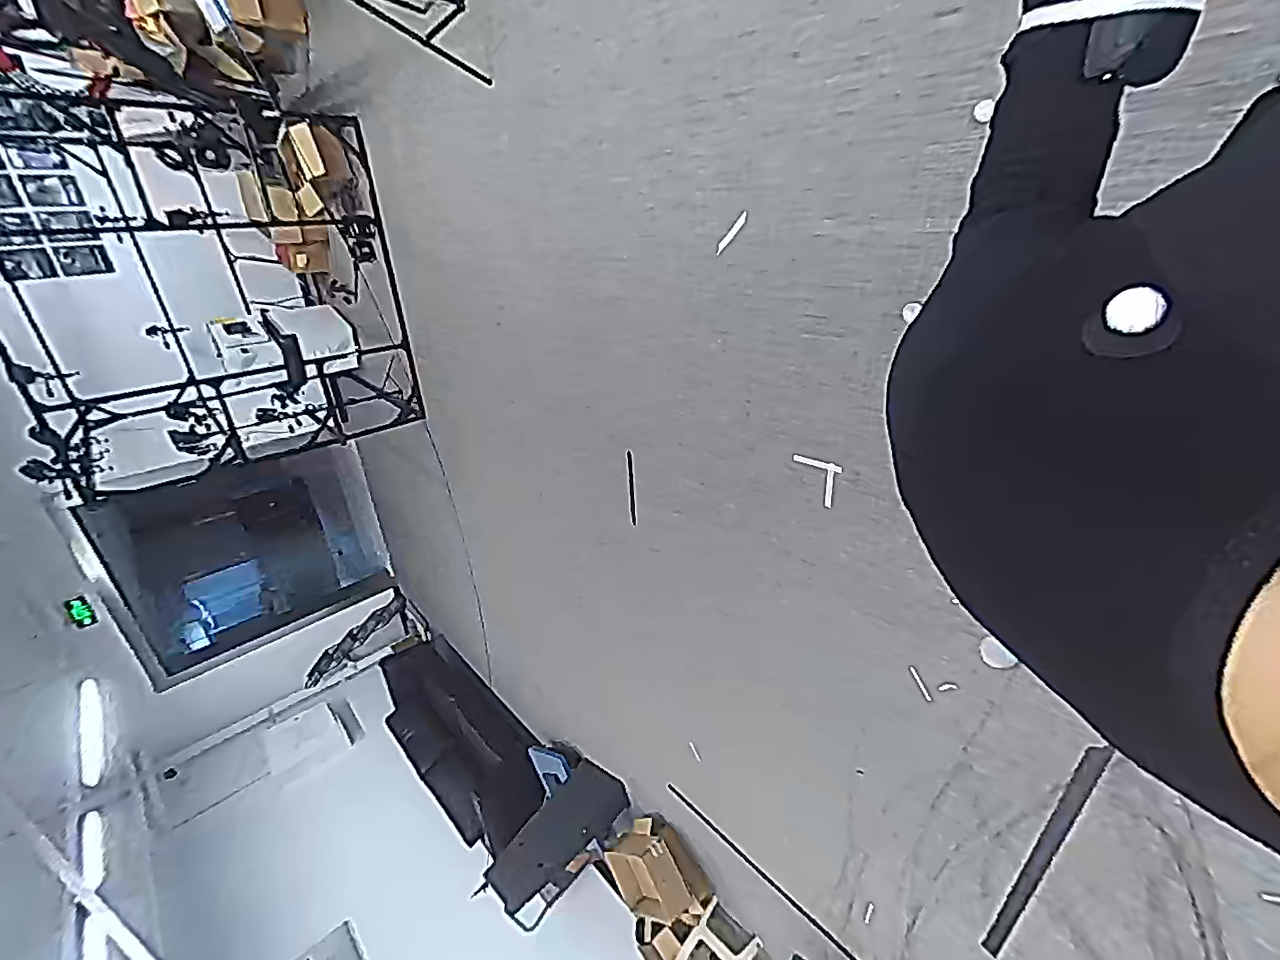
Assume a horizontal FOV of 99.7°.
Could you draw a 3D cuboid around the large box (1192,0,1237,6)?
[{"bbox_3d":[0.525,-0.454,0.211,0.408,0.320,0.320,18,131,40],"label":"large box"}]
